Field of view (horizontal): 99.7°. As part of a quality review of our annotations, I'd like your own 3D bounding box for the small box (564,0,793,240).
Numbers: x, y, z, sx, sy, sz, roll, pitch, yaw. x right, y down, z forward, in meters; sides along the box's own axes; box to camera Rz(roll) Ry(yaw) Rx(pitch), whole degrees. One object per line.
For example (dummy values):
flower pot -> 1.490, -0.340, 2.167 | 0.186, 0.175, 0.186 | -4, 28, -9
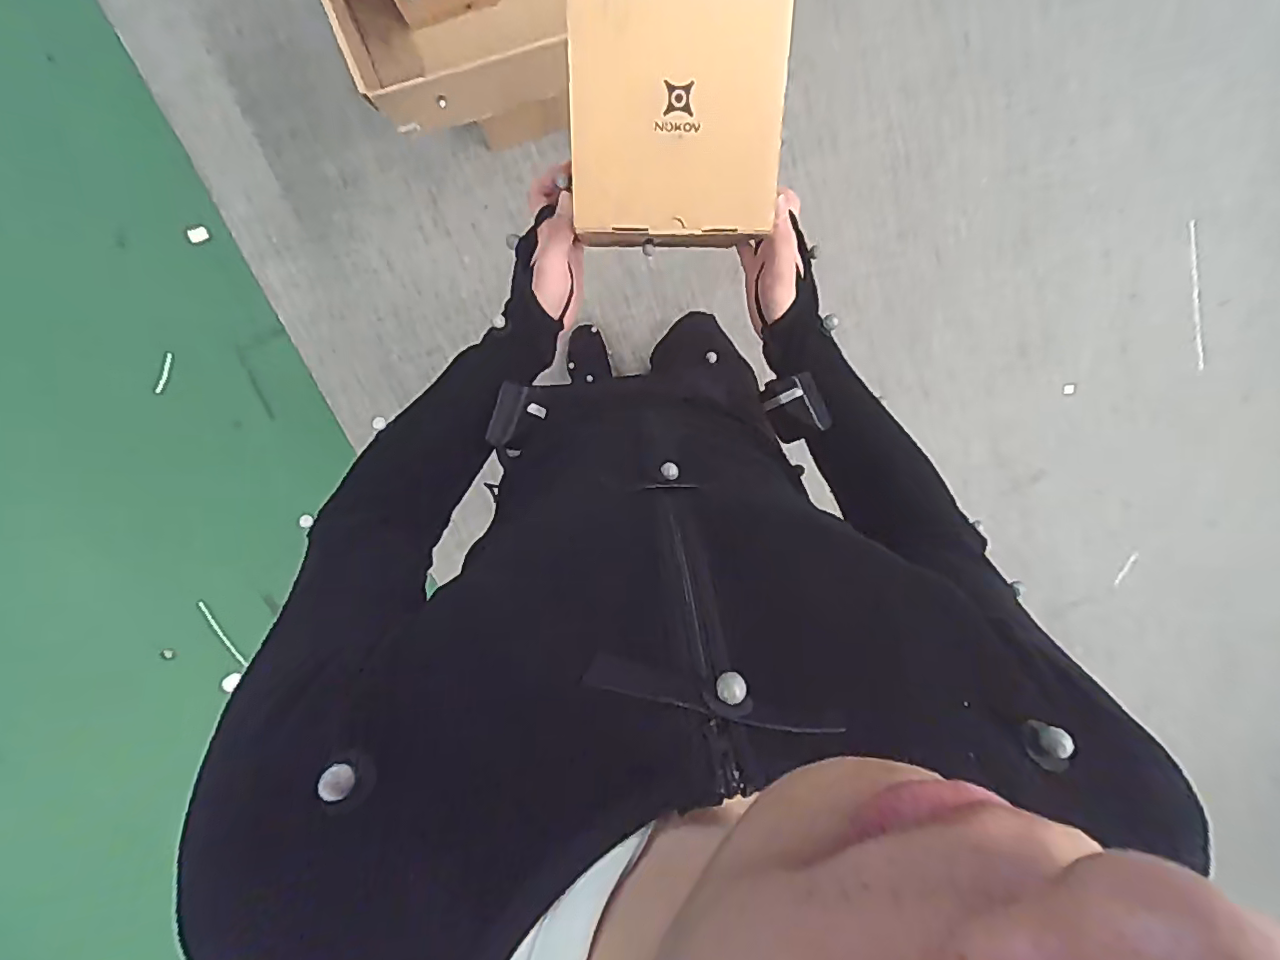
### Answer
small box -> 0.021, -0.312, 0.473 | 0.168, 0.176, 0.179 | -2, 111, -3
